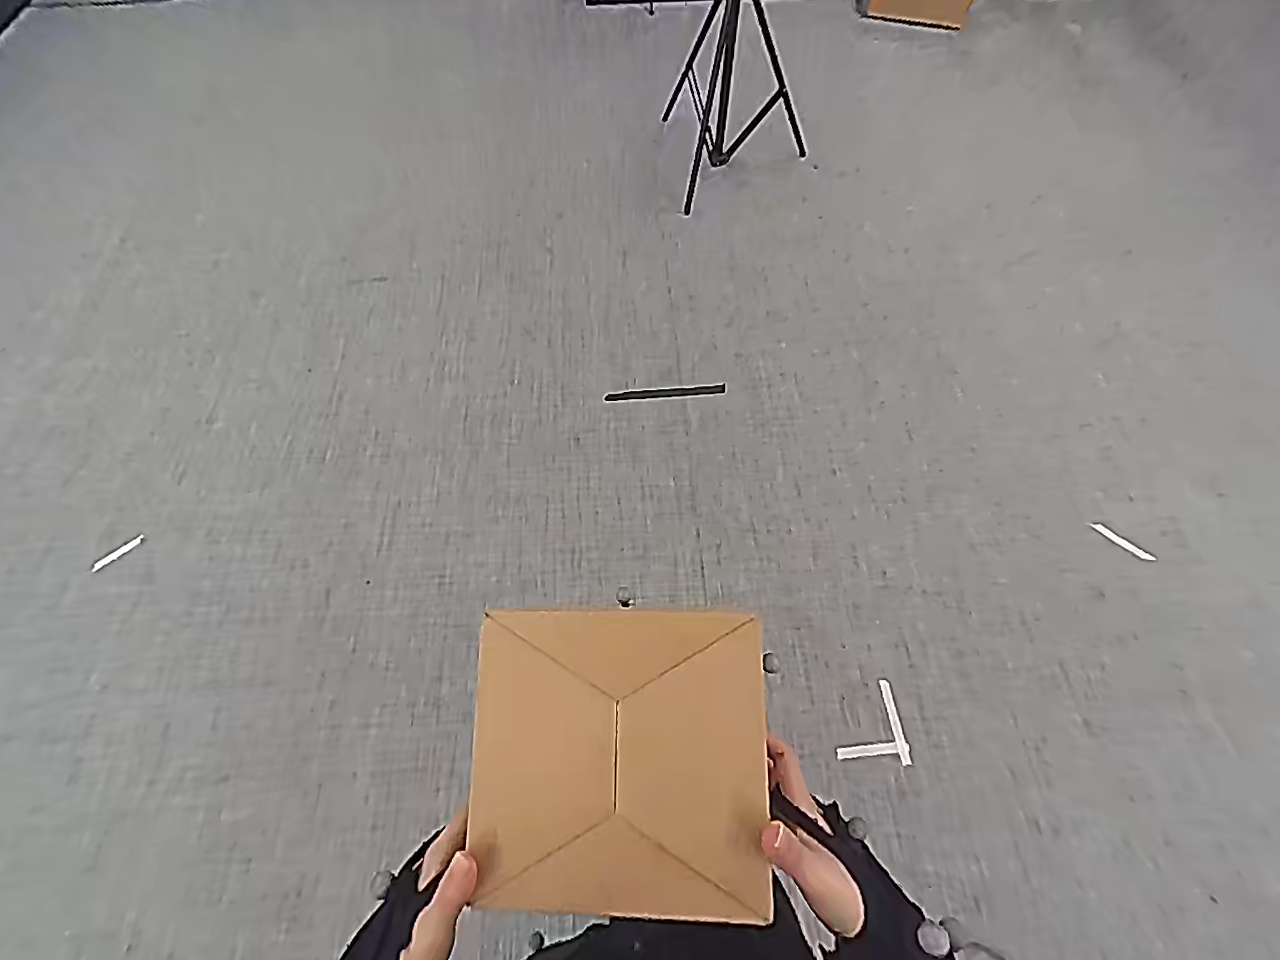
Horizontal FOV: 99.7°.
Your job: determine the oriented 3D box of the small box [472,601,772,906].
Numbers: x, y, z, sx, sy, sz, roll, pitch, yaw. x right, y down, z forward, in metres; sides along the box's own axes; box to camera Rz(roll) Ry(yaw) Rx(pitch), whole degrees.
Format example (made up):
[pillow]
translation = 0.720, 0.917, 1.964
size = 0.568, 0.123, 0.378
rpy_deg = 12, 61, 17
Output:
[small box]
translation = -0.004, 0.174, 0.395
size = 0.179, 0.176, 0.168
rpy_deg = -1, 77, 4
